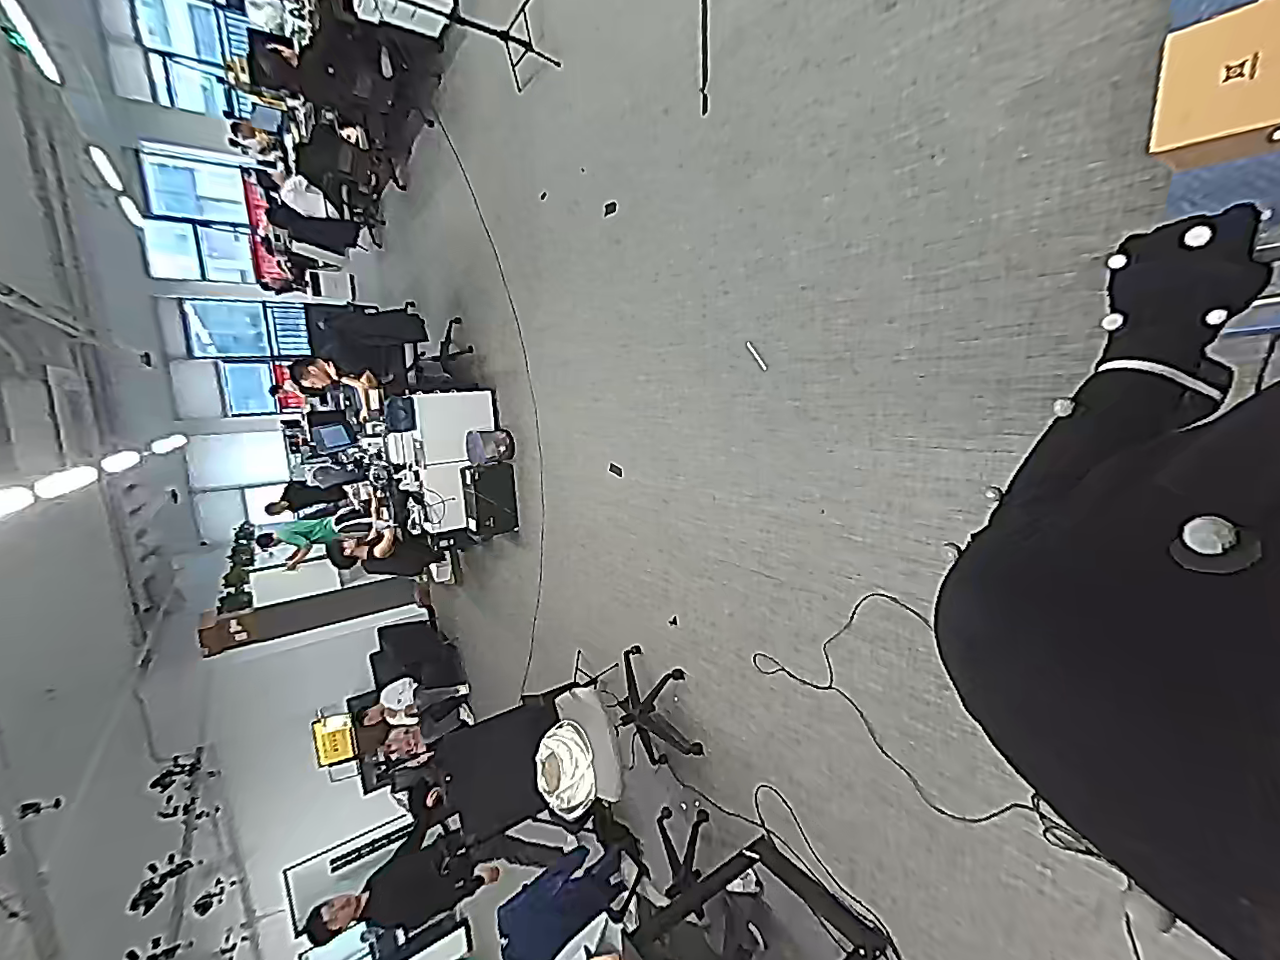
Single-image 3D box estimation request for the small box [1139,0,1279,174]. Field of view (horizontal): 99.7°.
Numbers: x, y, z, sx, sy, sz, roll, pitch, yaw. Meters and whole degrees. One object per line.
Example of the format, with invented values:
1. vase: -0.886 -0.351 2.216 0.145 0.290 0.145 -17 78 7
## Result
1. small box: 0.903 -0.585 0.817 0.179 0.176 0.168 13 108 51
